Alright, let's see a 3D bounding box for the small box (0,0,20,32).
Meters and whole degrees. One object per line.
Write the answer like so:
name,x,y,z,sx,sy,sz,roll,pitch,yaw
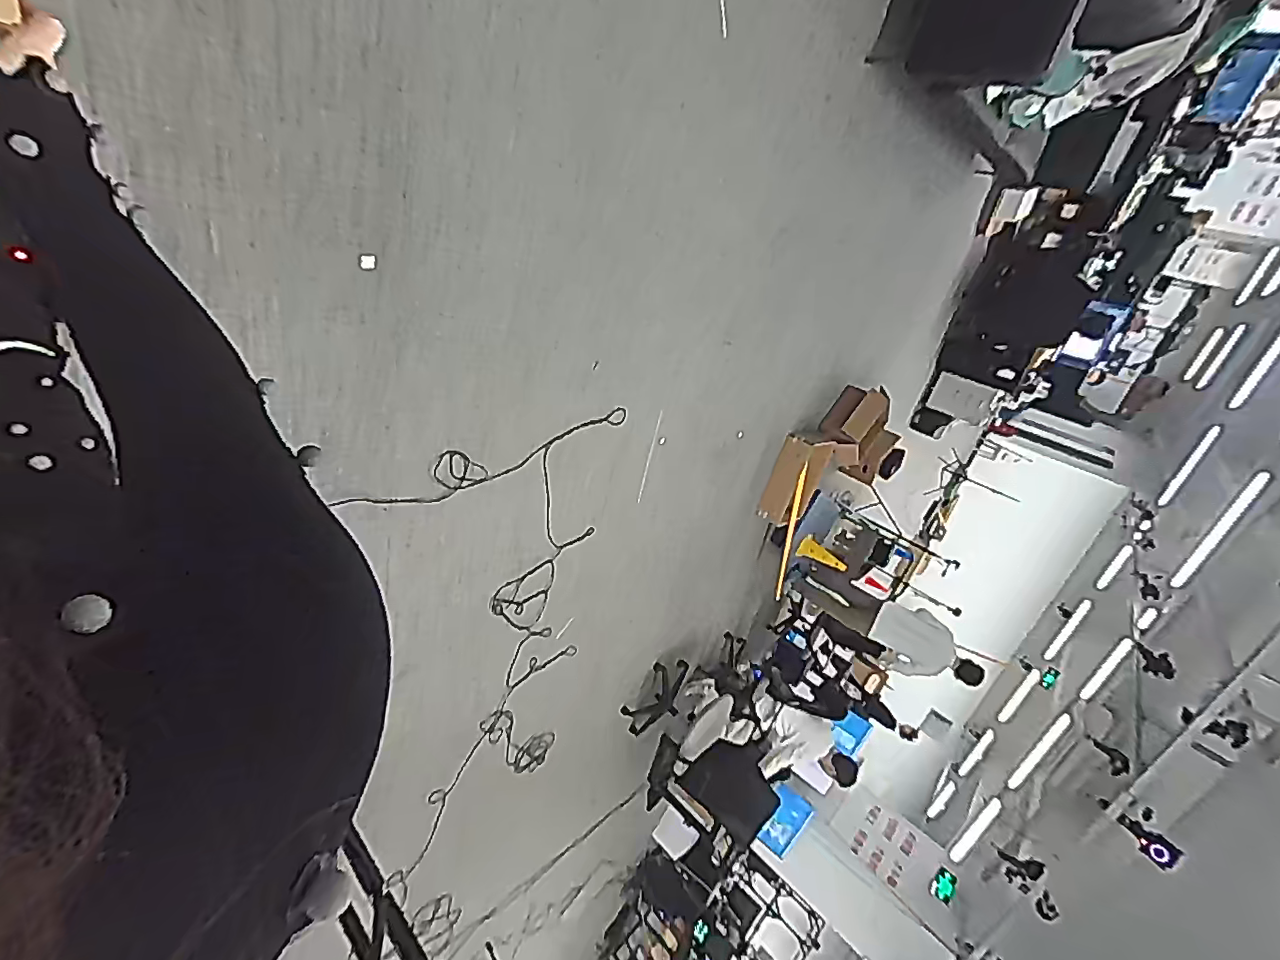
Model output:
small box,-0.478,-0.377,0.290,0.179,0.176,0.168,-10,124,-50
